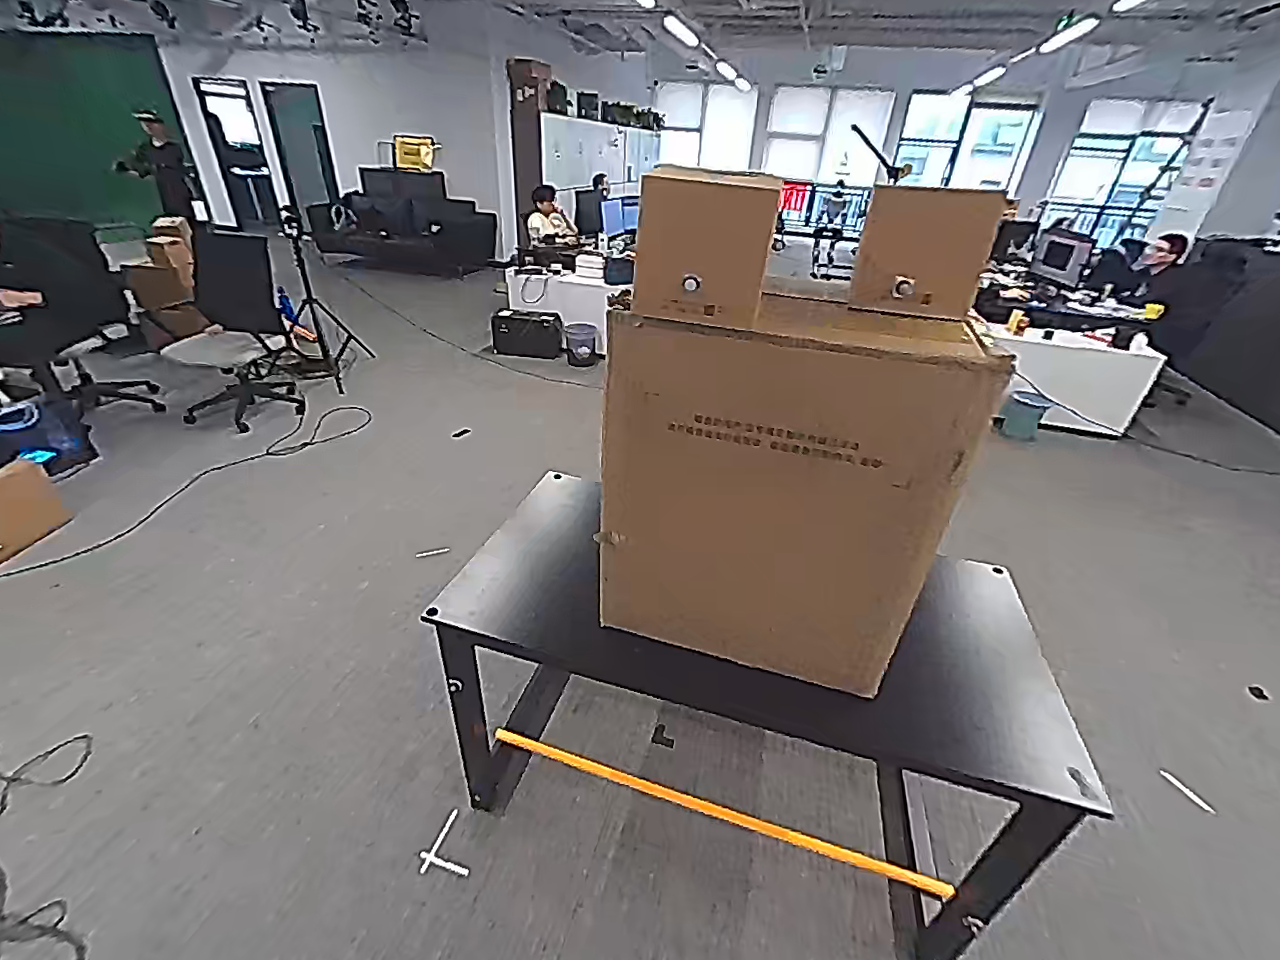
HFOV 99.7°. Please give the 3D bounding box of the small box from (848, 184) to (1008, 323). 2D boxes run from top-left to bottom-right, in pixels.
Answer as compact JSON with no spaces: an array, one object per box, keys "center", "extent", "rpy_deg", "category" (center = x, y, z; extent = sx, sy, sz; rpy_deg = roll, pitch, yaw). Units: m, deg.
[{"center":[0.419,-0.348,0.820],"extent":[0.168,0.176,0.179],"rpy_deg":[11,31,16],"category":"small box"}]
